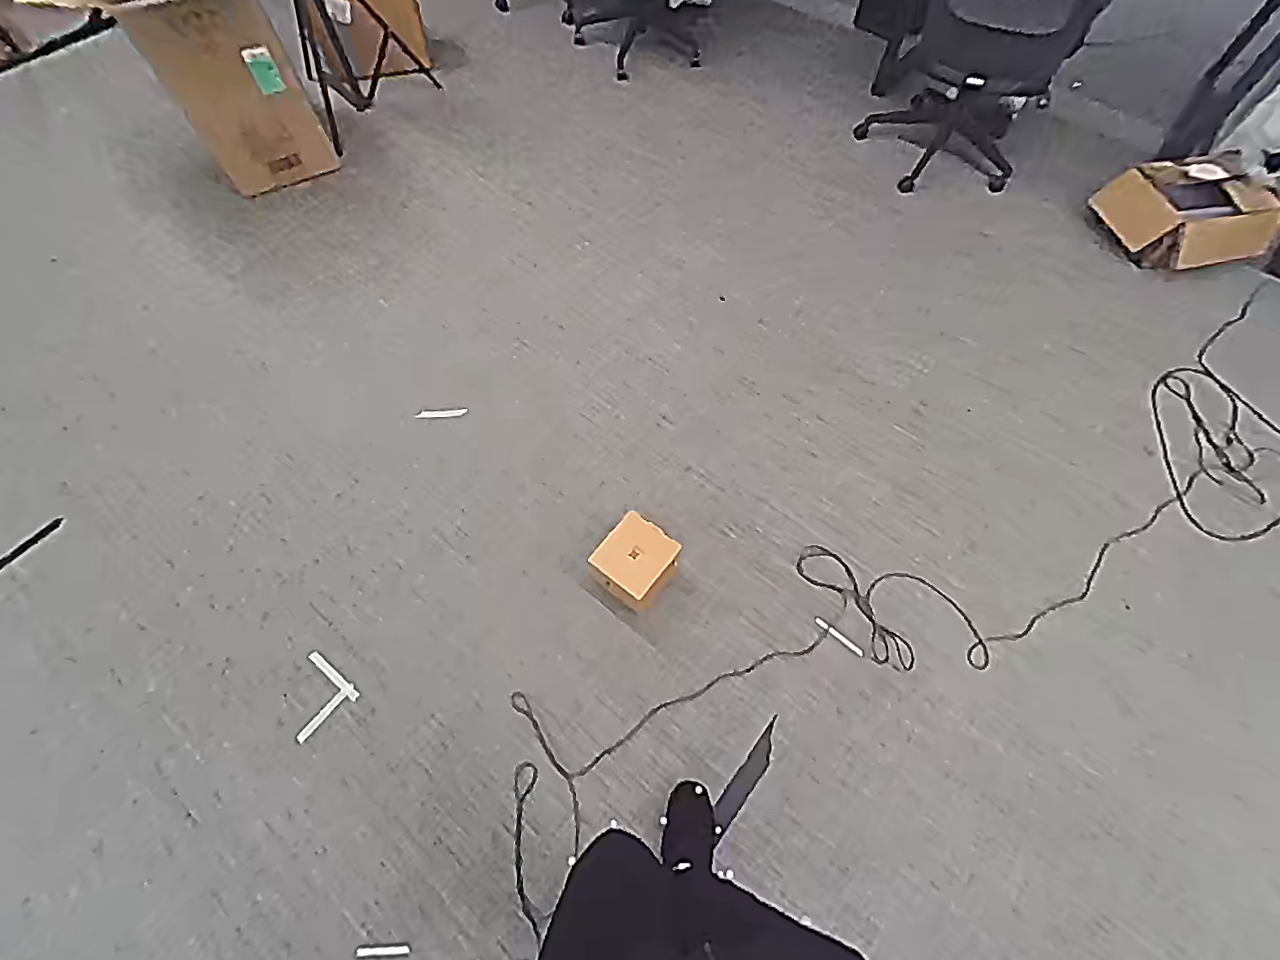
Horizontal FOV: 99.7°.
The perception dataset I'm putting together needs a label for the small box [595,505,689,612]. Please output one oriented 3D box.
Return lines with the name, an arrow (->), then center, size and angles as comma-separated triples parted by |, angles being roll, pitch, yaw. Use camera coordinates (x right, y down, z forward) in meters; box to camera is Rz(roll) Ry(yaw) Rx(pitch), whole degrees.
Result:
small box -> 0.006, 0.191, 1.361 | 0.179, 0.176, 0.168 | 21, 45, 30
